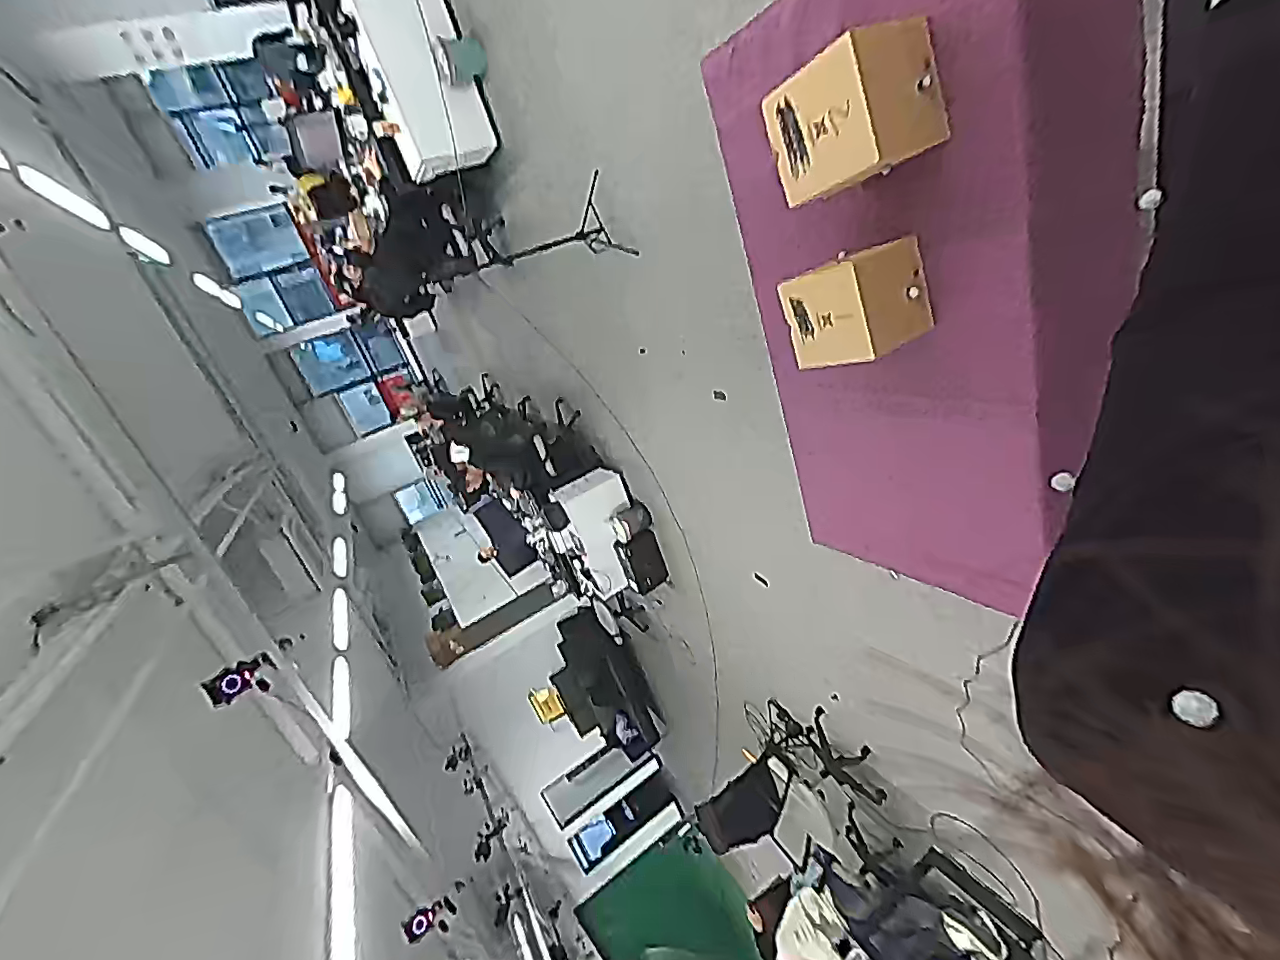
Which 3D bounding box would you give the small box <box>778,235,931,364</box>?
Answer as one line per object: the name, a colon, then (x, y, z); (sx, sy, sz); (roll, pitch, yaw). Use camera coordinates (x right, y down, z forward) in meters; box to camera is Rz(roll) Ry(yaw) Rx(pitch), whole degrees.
small box: (0.391, -0.324, 0.989); (0.179, 0.176, 0.168); (12, 128, 61)
